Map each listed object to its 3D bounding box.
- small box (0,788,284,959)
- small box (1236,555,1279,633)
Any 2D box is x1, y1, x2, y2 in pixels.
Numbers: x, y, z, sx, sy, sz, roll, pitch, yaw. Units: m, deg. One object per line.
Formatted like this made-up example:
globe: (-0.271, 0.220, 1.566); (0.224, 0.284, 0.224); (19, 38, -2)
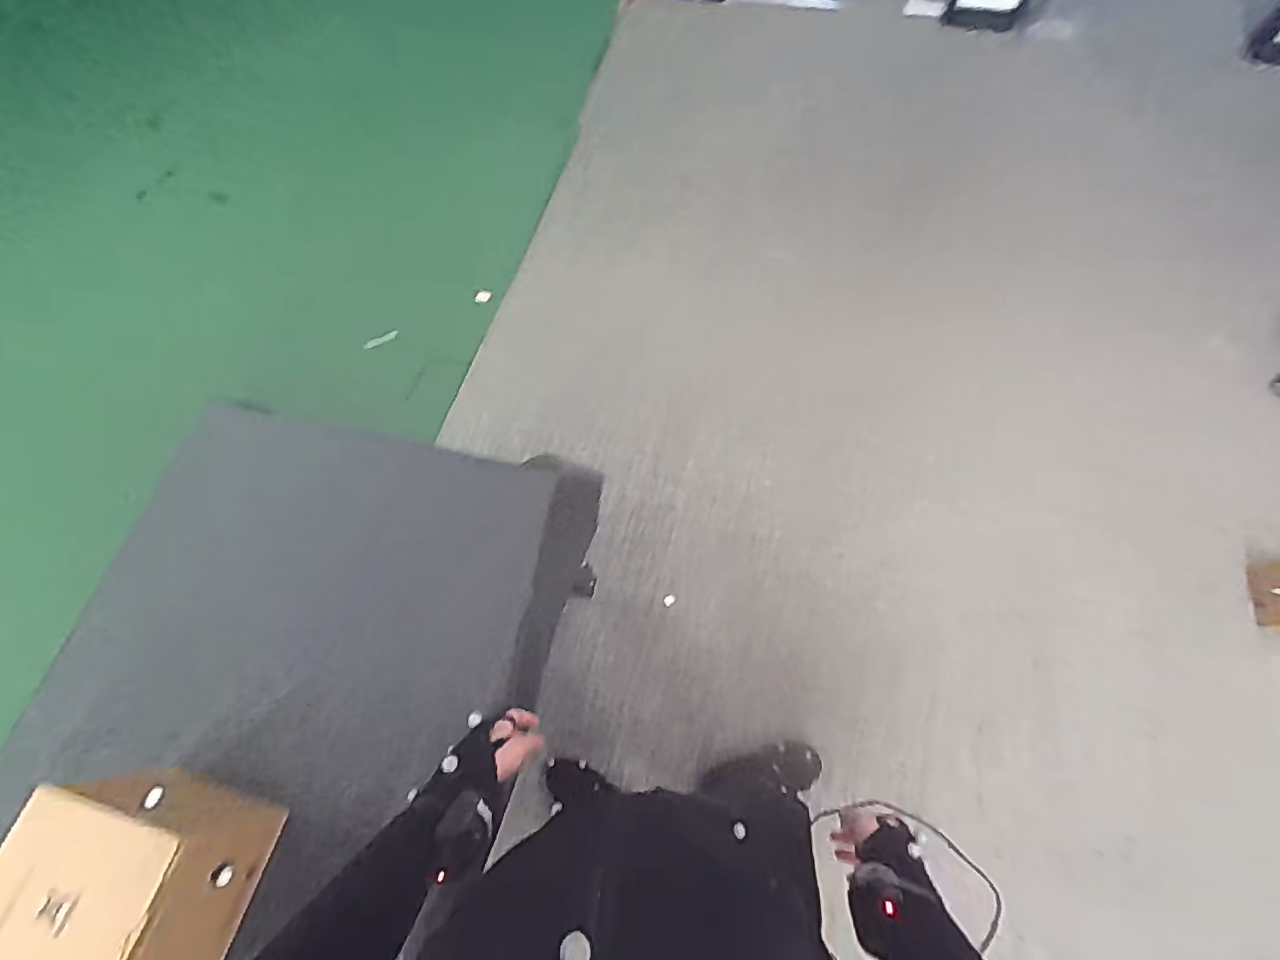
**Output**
small box: (-0.538, 0.449, 0.581); (0.179, 0.176, 0.168); (12, 67, 8)
small box: (1.670, 0.296, 1.359); (0.179, 0.176, 0.168); (10, 68, 7)
